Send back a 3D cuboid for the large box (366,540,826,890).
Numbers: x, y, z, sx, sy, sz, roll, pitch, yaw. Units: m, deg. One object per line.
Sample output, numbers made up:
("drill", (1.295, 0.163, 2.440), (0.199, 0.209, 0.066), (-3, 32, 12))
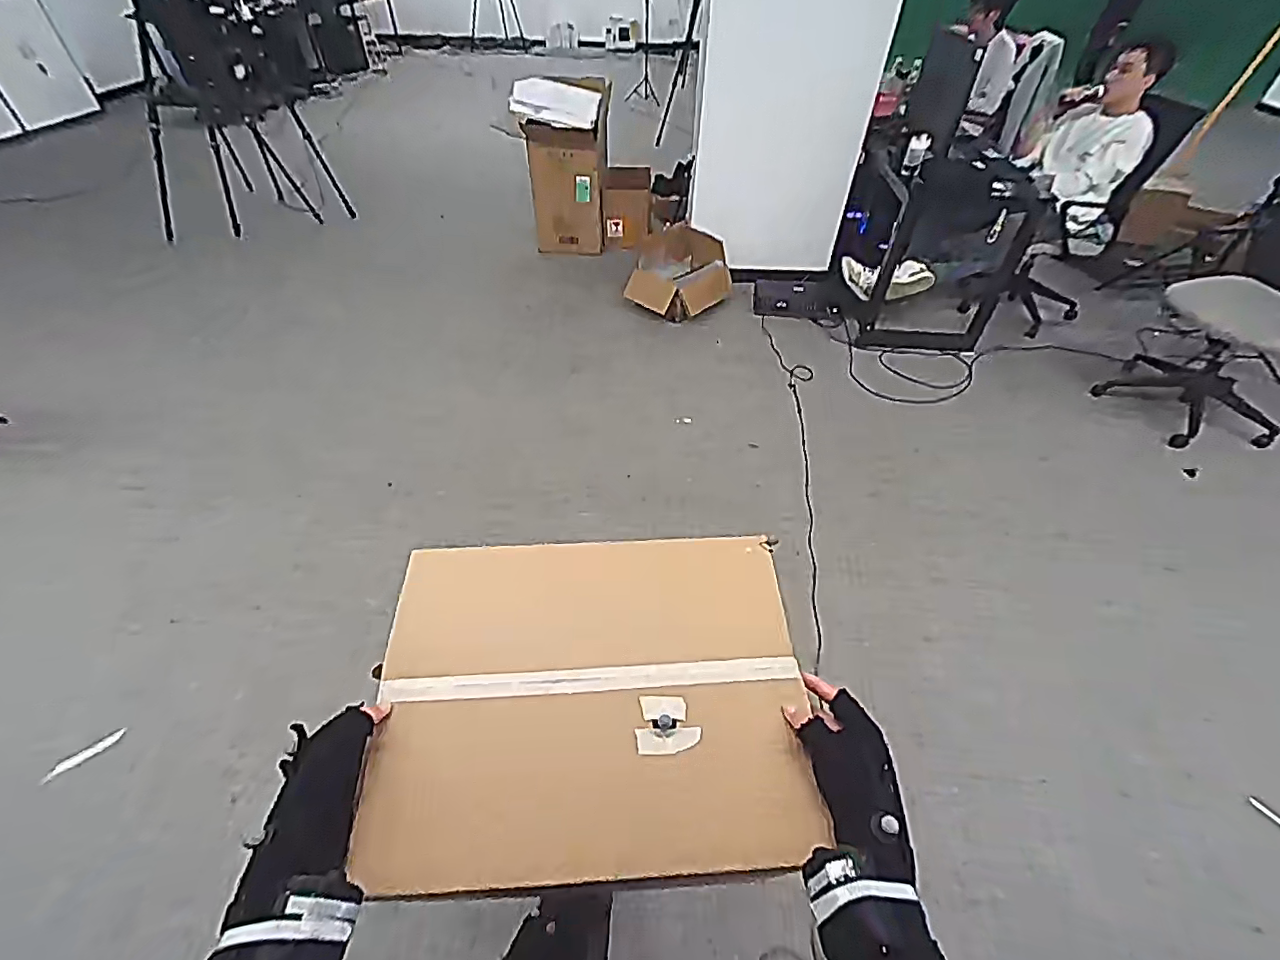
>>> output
("large box", (-0.048, 0.293, 0.667), (0.408, 0.320, 0.320), (-2, 52, -3))
